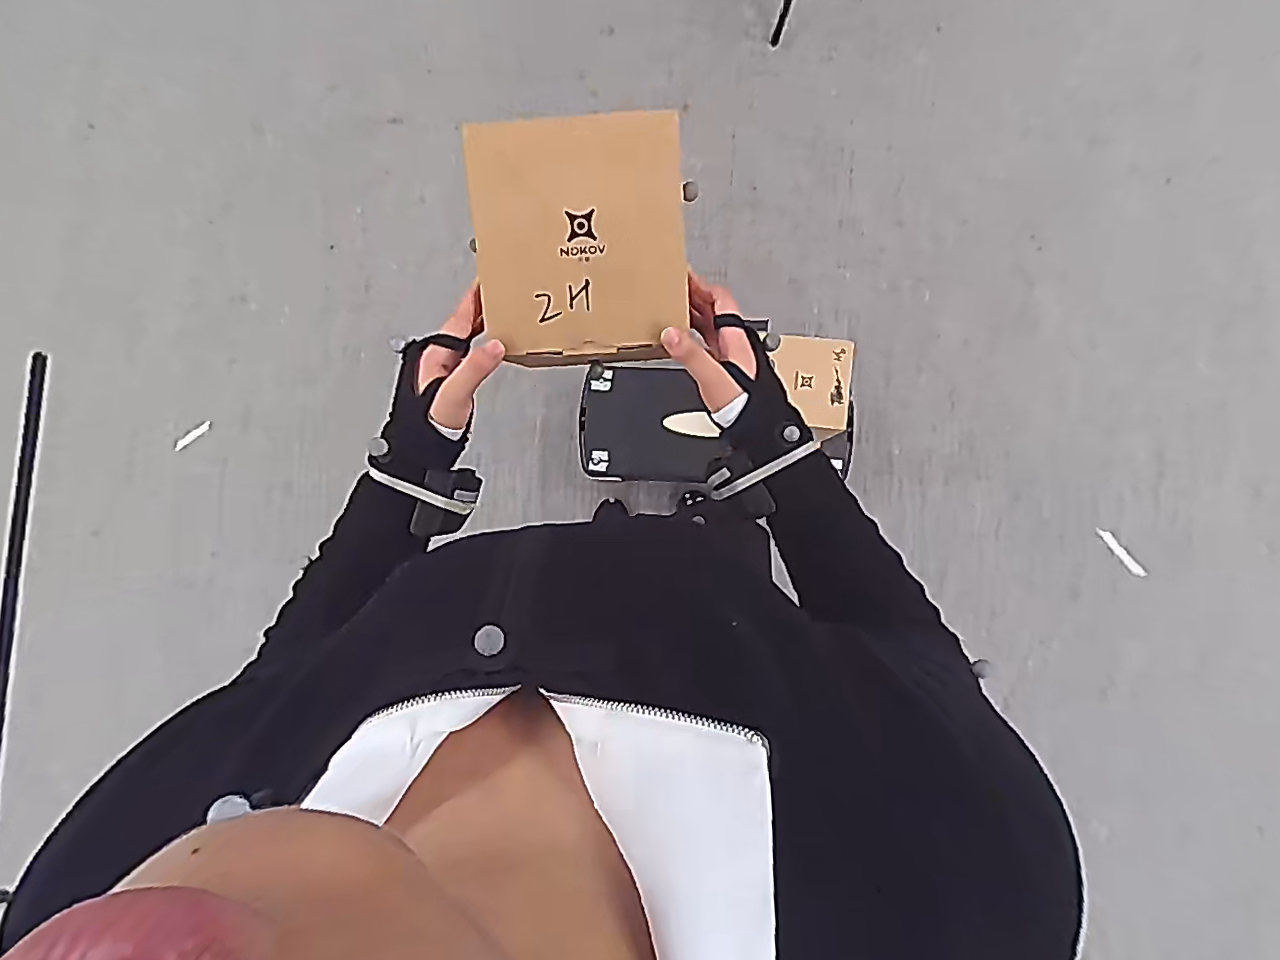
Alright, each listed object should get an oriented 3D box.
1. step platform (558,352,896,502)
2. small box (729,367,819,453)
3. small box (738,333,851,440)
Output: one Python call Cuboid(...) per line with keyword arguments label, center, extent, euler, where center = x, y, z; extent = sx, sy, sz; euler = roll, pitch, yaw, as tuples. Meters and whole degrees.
Cuboid(label="step platform", center=(0.177, -0.109, 1.189), extent=(0.684, 0.204, 0.286), euler=(3, 87, 3))
Cuboid(label="small box", center=(0.299, -0.150, 1.221), extent=(0.179, 0.176, 0.168), euler=(4, 87, 5))
Cuboid(label="small box", center=(0.293, -0.175, 1.058), extent=(0.179, 0.176, 0.168), euler=(7, 88, 4))
